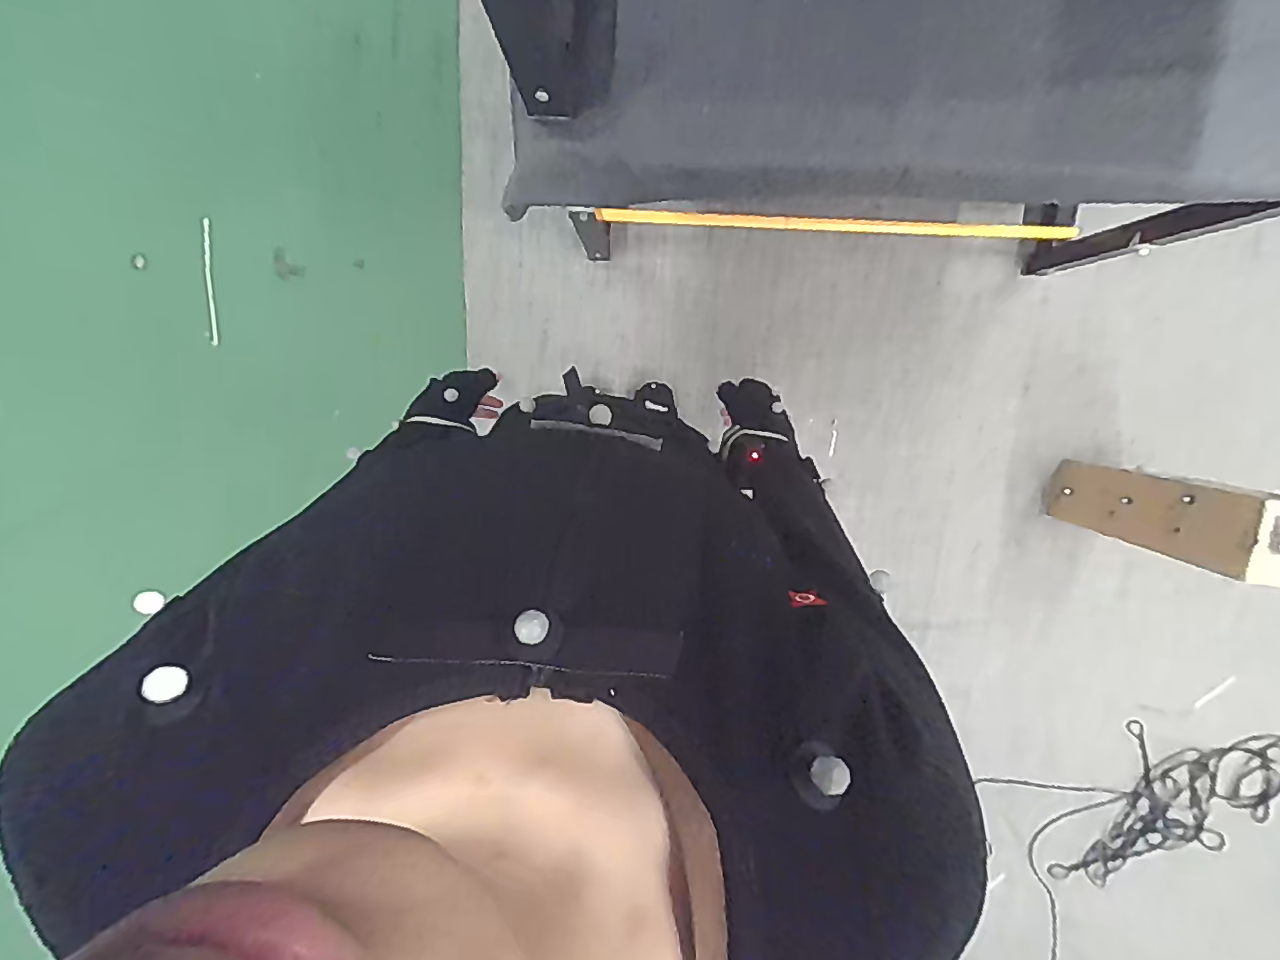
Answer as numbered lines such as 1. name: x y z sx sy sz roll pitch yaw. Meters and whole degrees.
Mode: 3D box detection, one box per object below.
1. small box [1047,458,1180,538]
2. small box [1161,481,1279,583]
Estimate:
1. small box: 1.227 0.042 1.414 0.179 0.176 0.168 8 100 -1
2. small box: 1.227 0.101 1.093 0.179 0.176 0.168 6 101 -1
